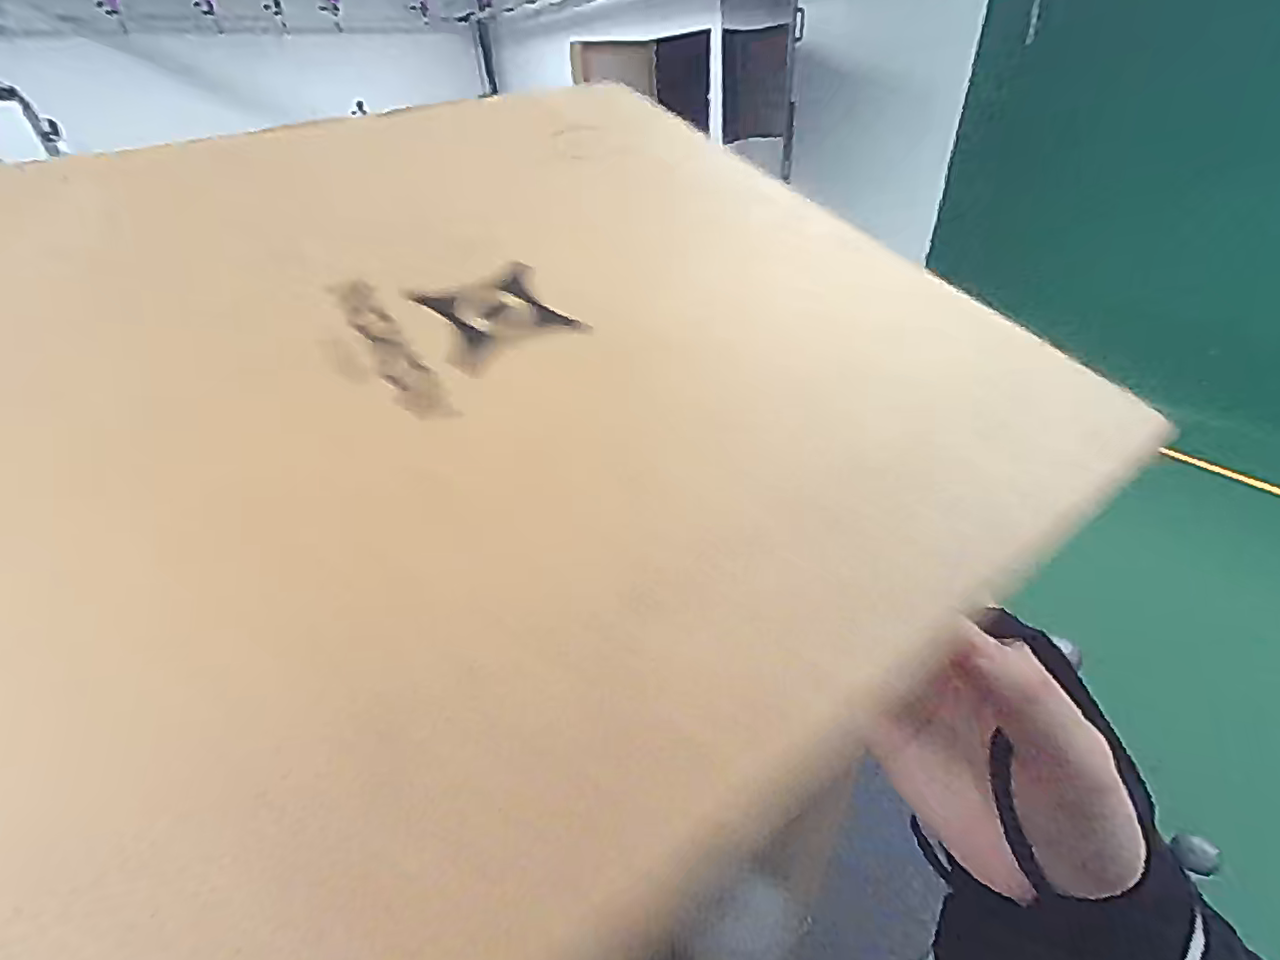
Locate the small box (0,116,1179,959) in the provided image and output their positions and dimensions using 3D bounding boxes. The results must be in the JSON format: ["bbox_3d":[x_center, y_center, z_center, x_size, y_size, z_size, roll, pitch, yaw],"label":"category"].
[{"bbox_3d":[-0.028,0.034,0.157,0.179,0.176,0.168,-30,64,-25],"label":"small box"}]
